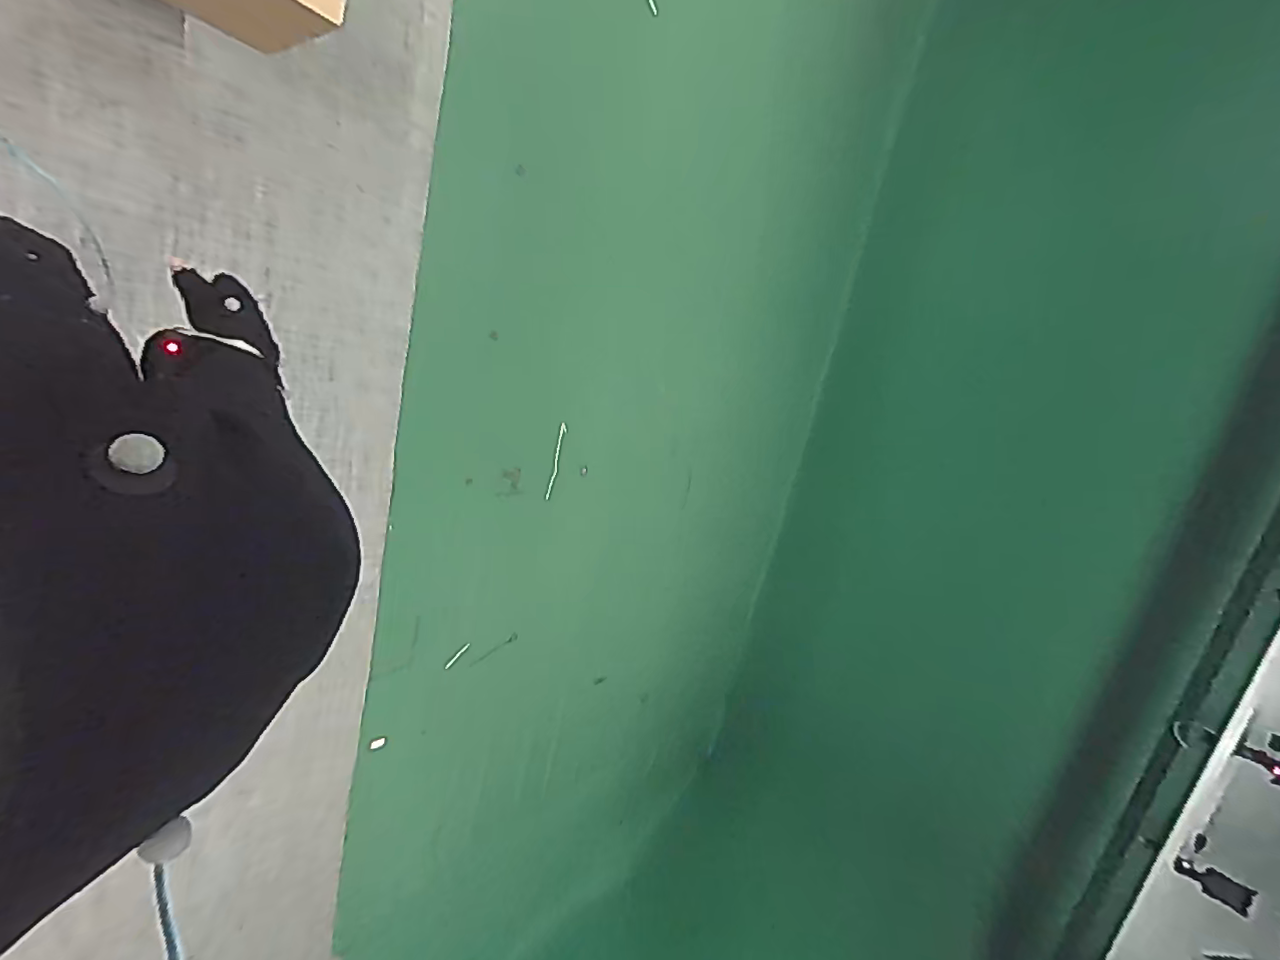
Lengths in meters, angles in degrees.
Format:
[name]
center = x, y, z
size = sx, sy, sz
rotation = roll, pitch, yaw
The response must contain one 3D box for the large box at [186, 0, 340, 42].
[large box]
center = -0.665, -0.903, 0.740
size = 0.408, 0.320, 0.320
rotation = -1, 108, -52
